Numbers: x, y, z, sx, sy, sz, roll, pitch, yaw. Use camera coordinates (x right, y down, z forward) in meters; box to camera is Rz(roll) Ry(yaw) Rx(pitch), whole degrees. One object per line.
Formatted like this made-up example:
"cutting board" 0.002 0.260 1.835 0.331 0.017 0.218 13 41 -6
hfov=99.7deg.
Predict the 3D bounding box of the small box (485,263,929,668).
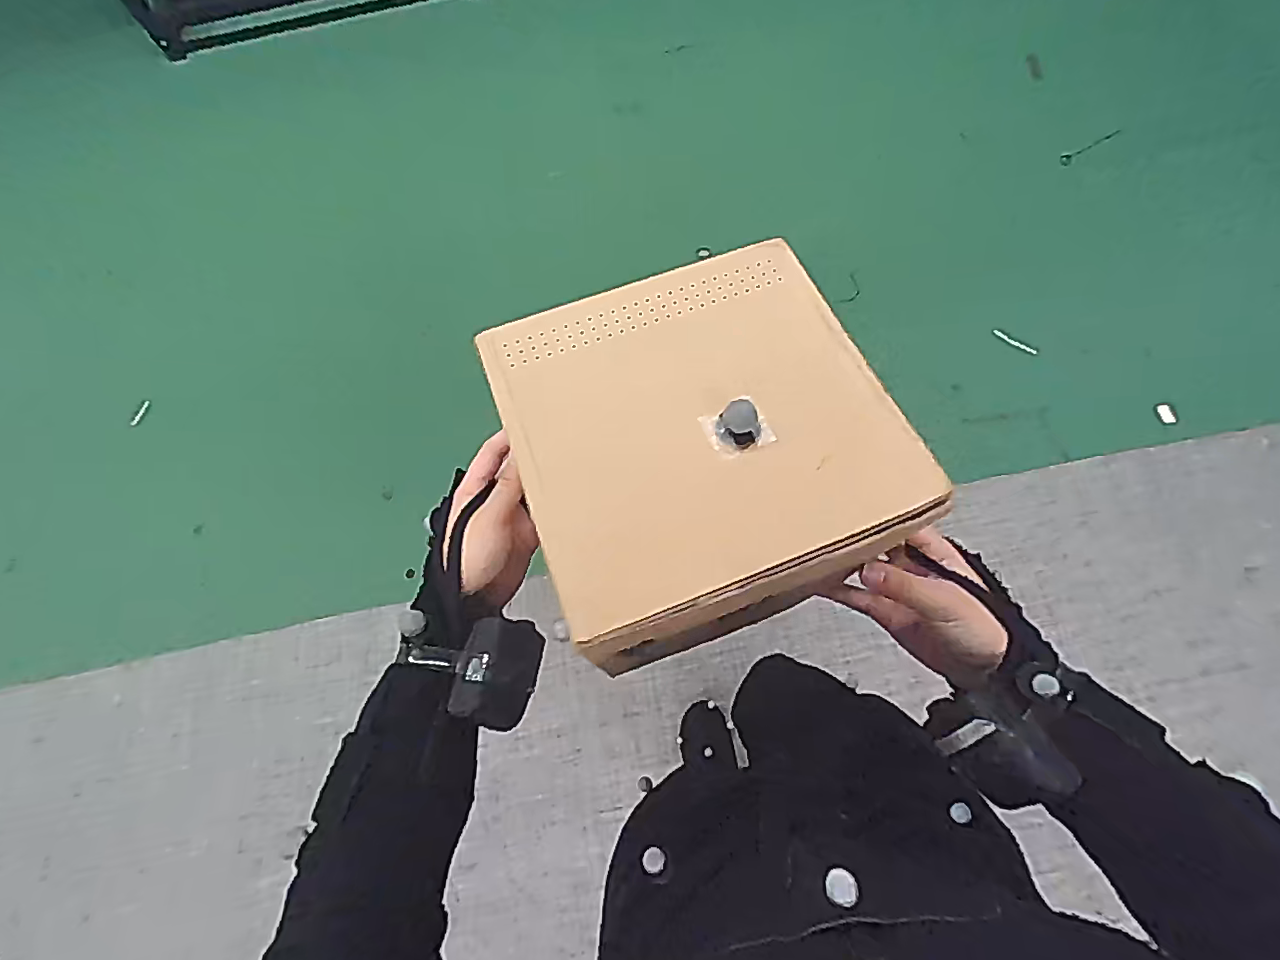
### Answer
"small box" 0.026 -0.003 0.337 0.179 0.168 0.176 -20 66 -6
